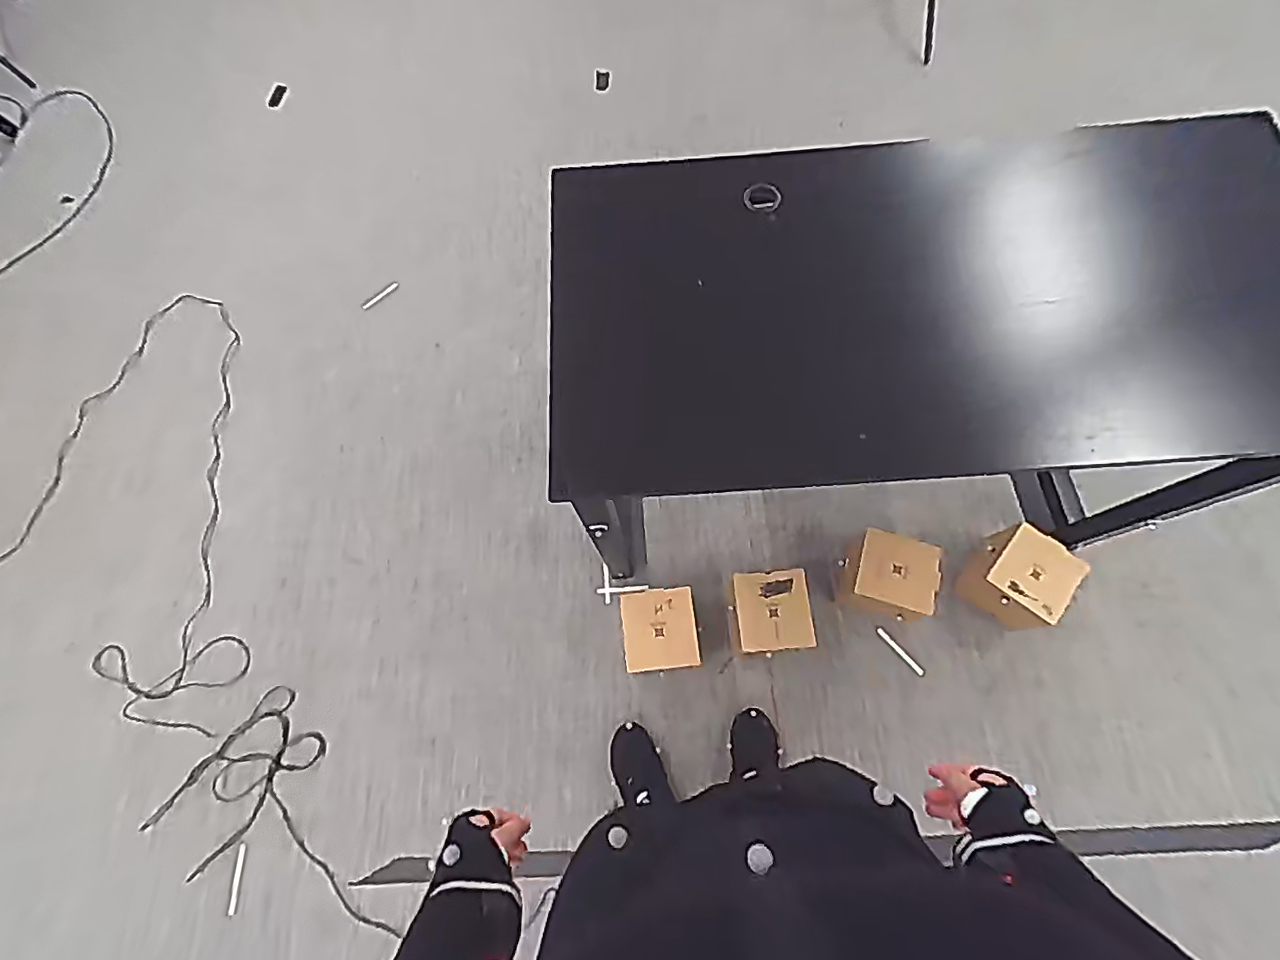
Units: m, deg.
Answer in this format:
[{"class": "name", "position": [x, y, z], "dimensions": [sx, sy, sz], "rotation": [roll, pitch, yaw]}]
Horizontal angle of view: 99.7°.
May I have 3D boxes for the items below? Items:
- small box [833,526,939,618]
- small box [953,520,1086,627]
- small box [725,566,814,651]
[{"class": "small box", "position": [0.591, 0.230, 1.312], "dimensions": [0.179, 0.176, 0.168], "rotation": [15, 71, 9]}, {"class": "small box", "position": [0.894, 0.228, 1.293], "dimensions": [0.168, 0.176, 0.179], "rotation": [38, 76, 15]}, {"class": "small box", "position": [0.302, 0.313, 1.297], "dimensions": [0.168, 0.176, 0.179], "rotation": [-5, 72, 2]}]
